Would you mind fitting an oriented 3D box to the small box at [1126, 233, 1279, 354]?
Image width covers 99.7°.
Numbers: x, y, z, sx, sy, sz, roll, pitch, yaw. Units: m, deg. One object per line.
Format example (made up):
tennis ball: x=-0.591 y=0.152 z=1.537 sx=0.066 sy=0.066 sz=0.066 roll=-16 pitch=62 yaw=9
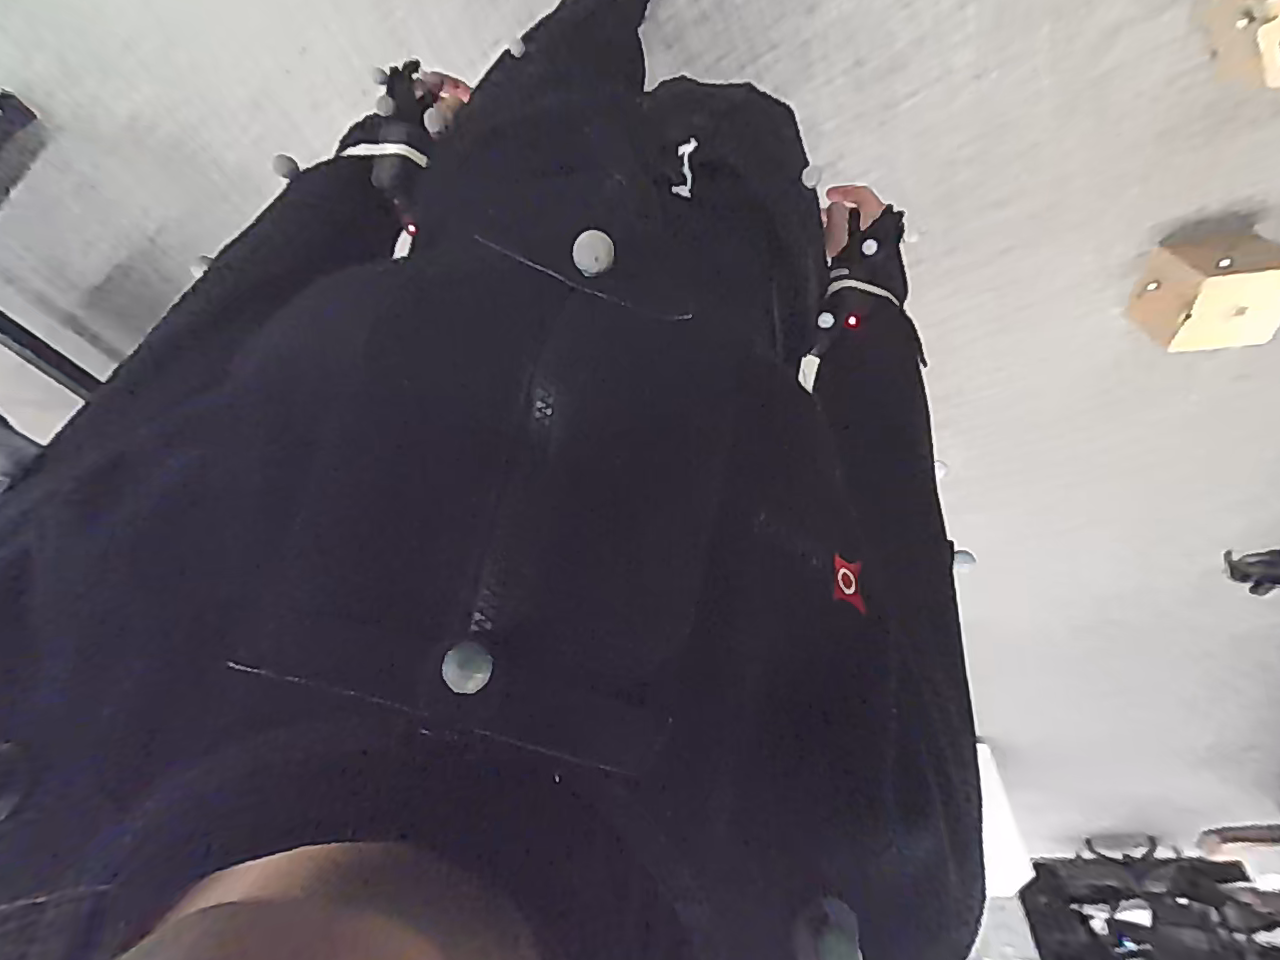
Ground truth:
small box: x=1.159 y=-0.380 z=1.096 sx=0.179 sy=0.176 sz=0.168 roll=-4 pitch=134 yaw=12
